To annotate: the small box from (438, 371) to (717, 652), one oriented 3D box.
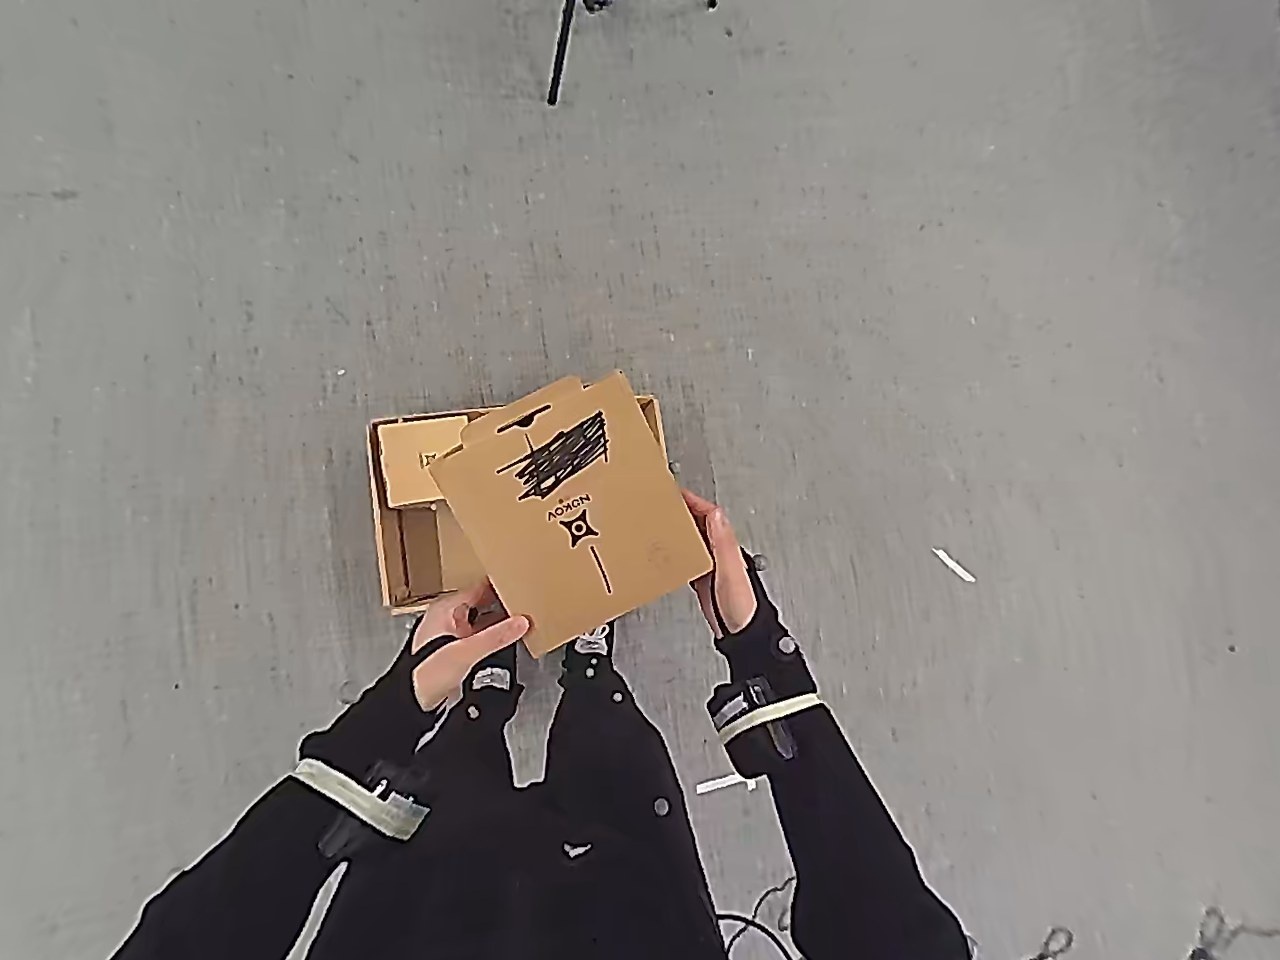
[{"bbox_3d":[-0.052,0.020,0.501,0.168,0.176,0.179,-27,97,0],"label":"small box"}]
